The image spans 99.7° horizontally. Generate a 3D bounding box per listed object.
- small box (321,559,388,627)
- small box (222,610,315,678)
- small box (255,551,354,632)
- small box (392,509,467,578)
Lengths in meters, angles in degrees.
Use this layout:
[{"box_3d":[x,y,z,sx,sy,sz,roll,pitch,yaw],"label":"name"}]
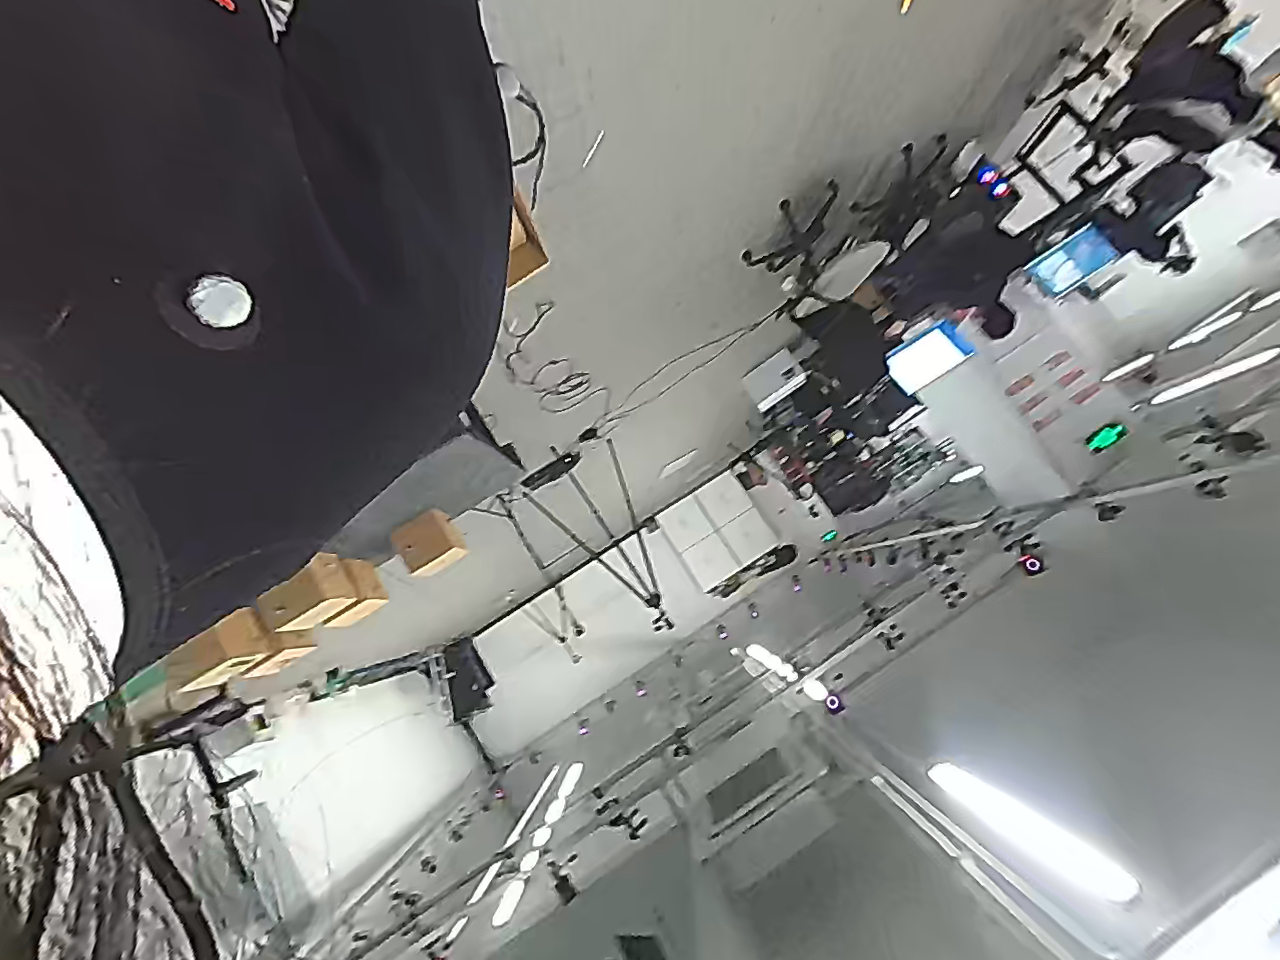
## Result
[{"box_3d":[-1.018,0.389,1.872,0.168,0.176,0.179,-32,169,-8],"label":"small box"},{"box_3d":[-1.260,0.545,1.838,0.168,0.176,0.179,-33,168,-8],"label":"small box"},{"box_3d":[-1.017,0.335,1.633,0.179,0.176,0.168,-33,170,-6],"label":"small box"},{"box_3d":[-0.750,0.226,1.918,0.179,0.176,0.168,-31,169,-7],"label":"small box"}]
